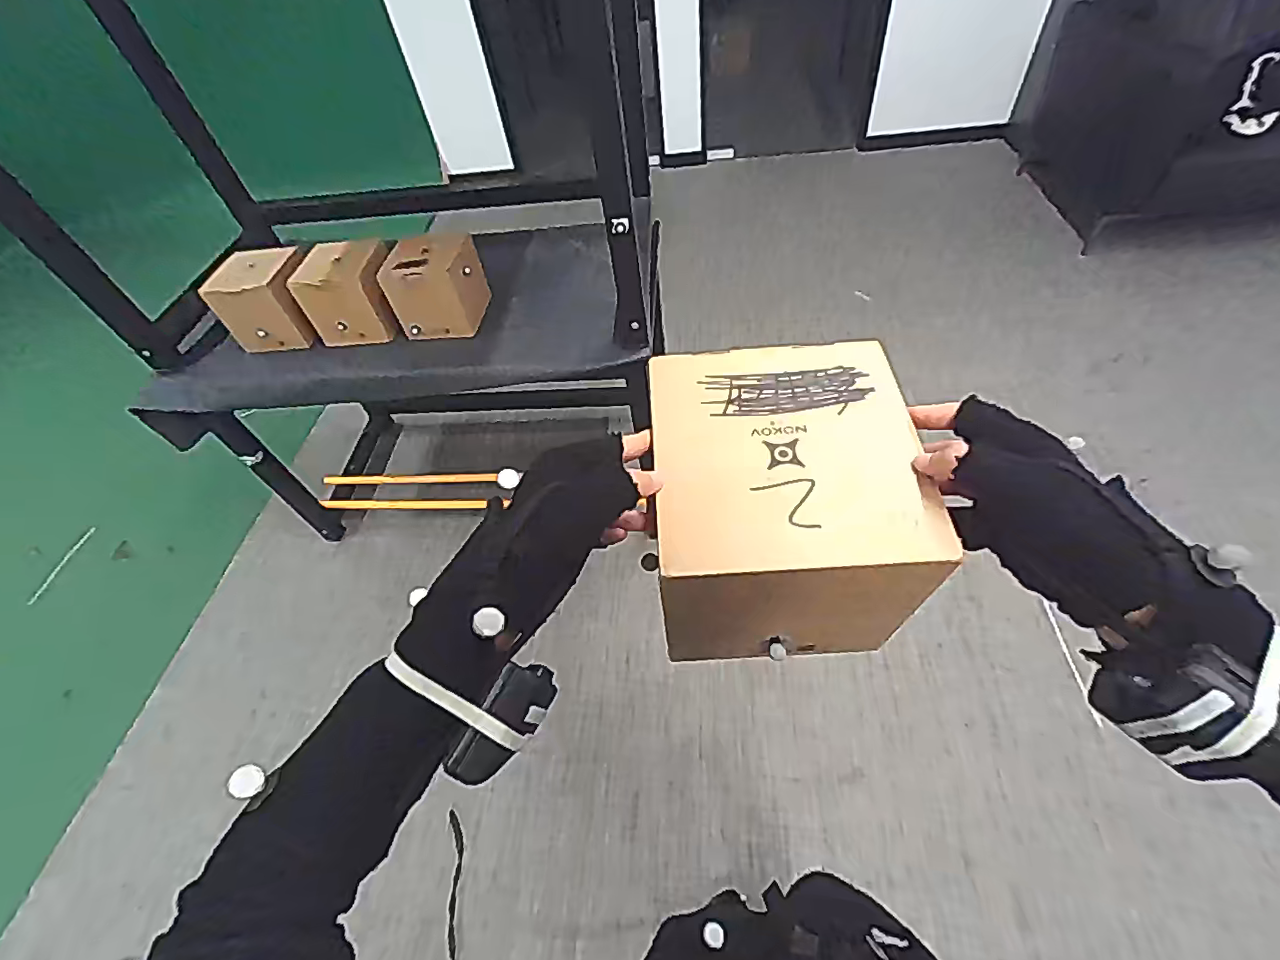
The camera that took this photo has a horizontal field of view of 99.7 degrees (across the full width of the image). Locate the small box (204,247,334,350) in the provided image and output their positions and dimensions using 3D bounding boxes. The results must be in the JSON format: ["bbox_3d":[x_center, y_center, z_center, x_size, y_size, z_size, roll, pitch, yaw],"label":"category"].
[{"bbox_3d":[-0.878,-0.436,1.303,0.168,0.176,0.179,-3,51,5],"label":"small box"}]
